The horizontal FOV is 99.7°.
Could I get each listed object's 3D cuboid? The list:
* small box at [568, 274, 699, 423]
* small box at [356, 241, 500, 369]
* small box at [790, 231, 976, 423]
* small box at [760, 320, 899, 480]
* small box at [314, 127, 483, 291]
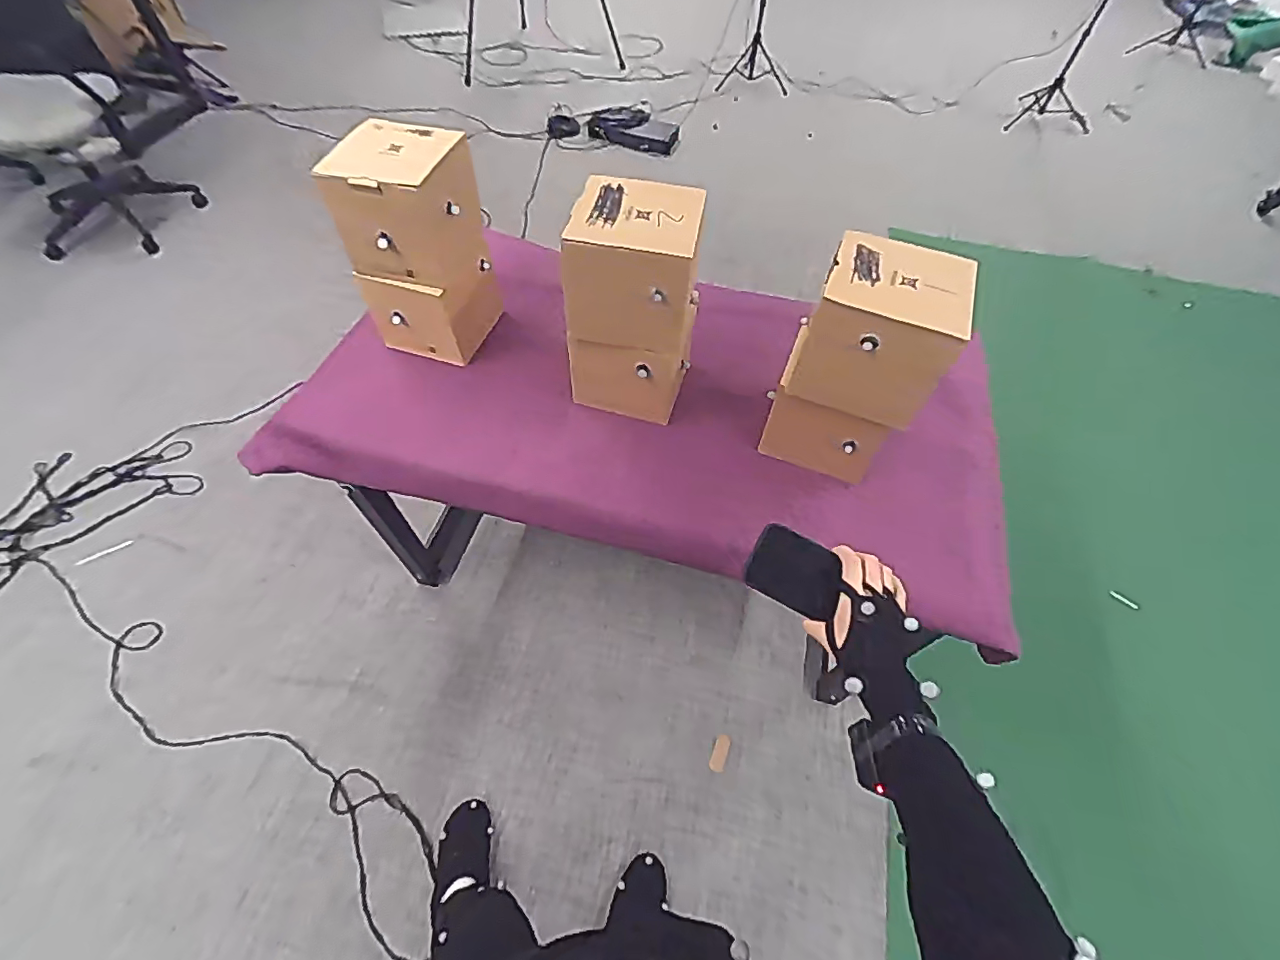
[{"bbox_3d":[-0.009,-0.221,0.936,0.179,0.176,0.168,14,56,8],"label":"small box"},{"bbox_3d":[-0.377,-0.334,1.005,0.168,0.176,0.179,15,56,9],"label":"small box"},{"bbox_3d":[0.320,-0.203,0.736,0.179,0.176,0.168,20,57,11],"label":"small box"},{"bbox_3d":[0.313,-0.124,0.880,0.179,0.176,0.168,20,57,12],"label":"small box"},{"bbox_3d":[-0.371,-0.433,0.874,0.168,0.176,0.179,11,57,5],"label":"small box"}]
